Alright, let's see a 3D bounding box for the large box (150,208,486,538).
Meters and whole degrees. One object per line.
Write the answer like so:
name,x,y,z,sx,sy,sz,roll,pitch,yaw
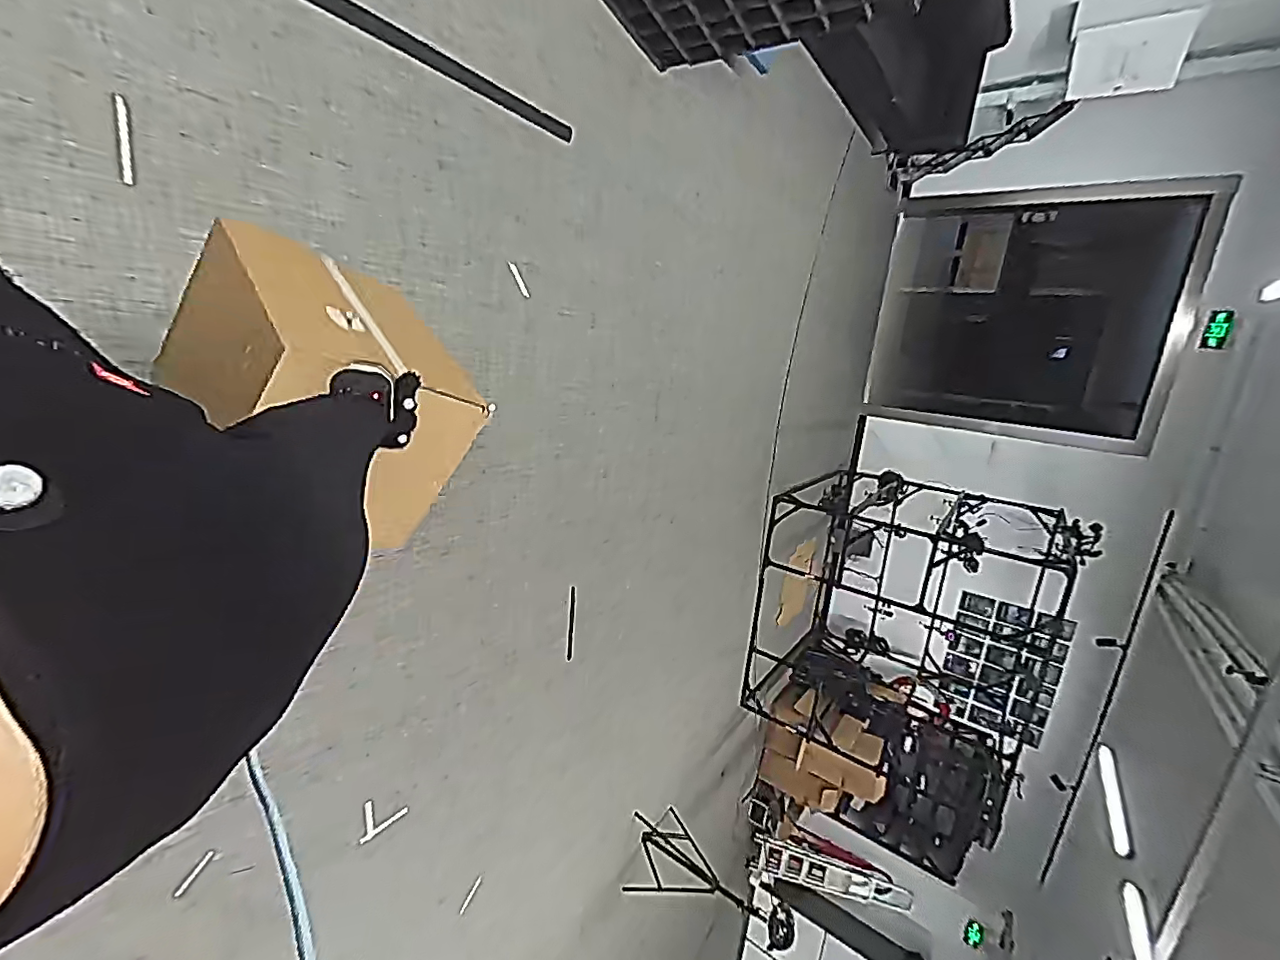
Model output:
large box,-0.541,-0.155,0.901,0.320,0.408,0.320,-50,150,18
